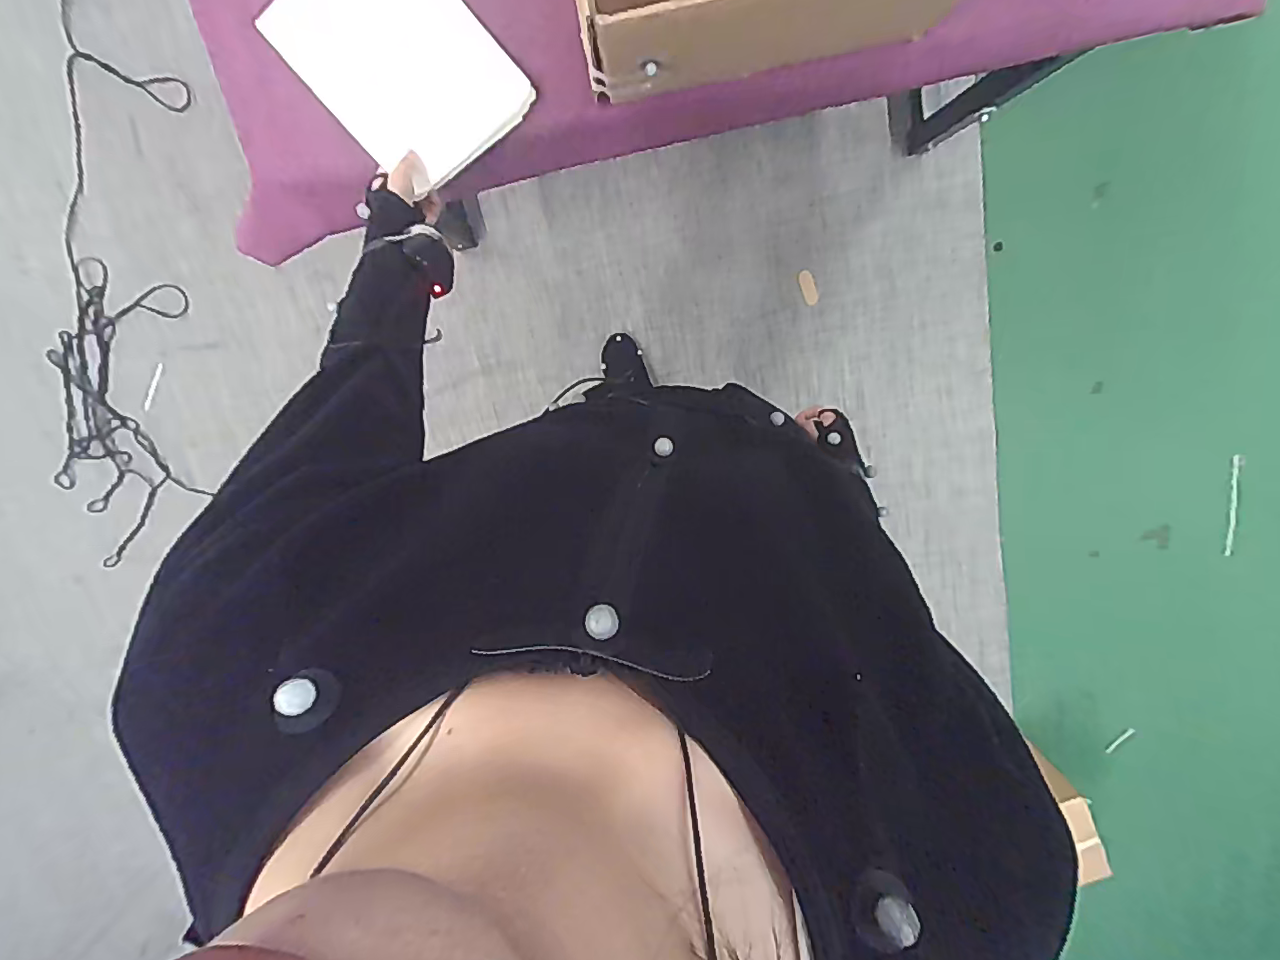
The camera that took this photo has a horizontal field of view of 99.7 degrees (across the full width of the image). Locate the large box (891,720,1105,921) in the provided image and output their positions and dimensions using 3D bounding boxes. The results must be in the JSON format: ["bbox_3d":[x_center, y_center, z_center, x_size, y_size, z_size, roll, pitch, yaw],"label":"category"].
[{"bbox_3d":[1.071,1.026,1.657,0.408,0.320,0.320,-26,105,5],"label":"large box"}]
